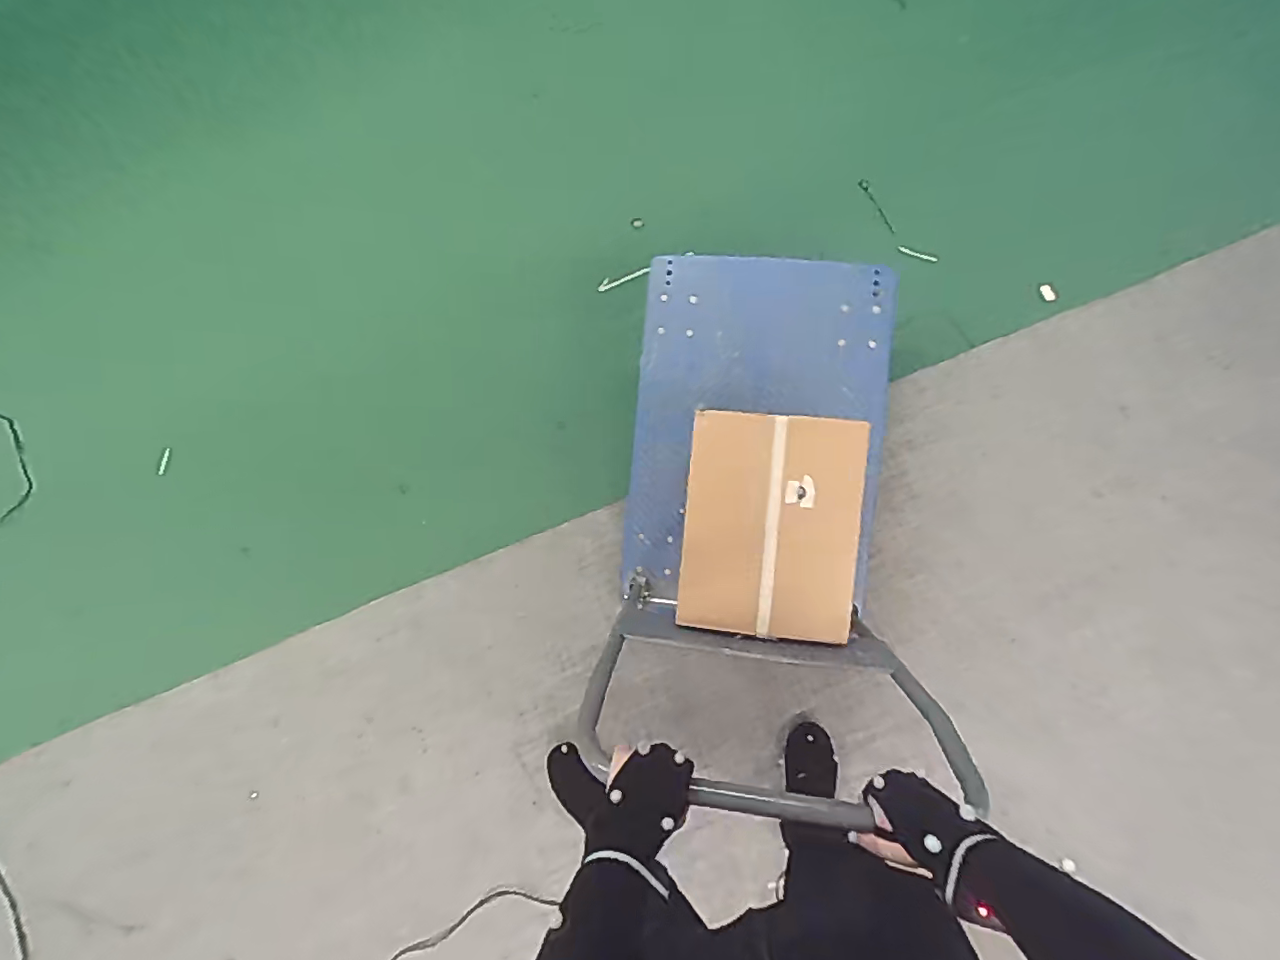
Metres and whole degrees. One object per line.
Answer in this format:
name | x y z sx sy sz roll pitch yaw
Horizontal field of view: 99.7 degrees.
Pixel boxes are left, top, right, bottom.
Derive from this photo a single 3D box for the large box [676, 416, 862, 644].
large box | 0.253 0.090 1.140 0.320 0.320 0.408 5 91 6
